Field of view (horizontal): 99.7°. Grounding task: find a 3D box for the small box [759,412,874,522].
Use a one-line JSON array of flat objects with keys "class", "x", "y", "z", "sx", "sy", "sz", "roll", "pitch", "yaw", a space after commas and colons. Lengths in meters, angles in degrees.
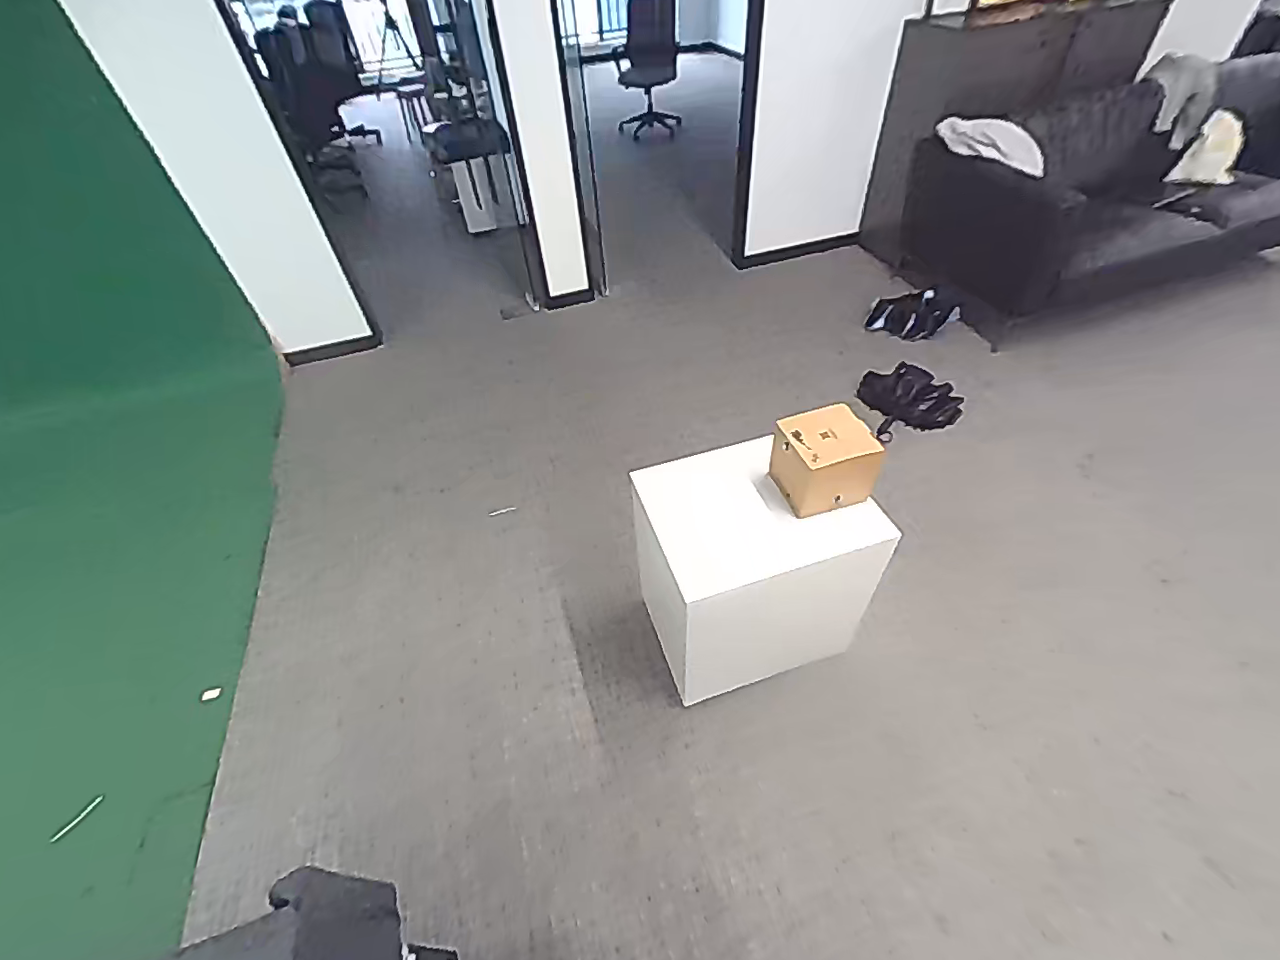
[{"class": "small box", "x": 0.394, "y": -0.029, "z": 1.242, "sx": 0.179, "sy": 0.176, "sz": 0.168, "roll": -13, "pitch": 47, "yaw": -12}]
